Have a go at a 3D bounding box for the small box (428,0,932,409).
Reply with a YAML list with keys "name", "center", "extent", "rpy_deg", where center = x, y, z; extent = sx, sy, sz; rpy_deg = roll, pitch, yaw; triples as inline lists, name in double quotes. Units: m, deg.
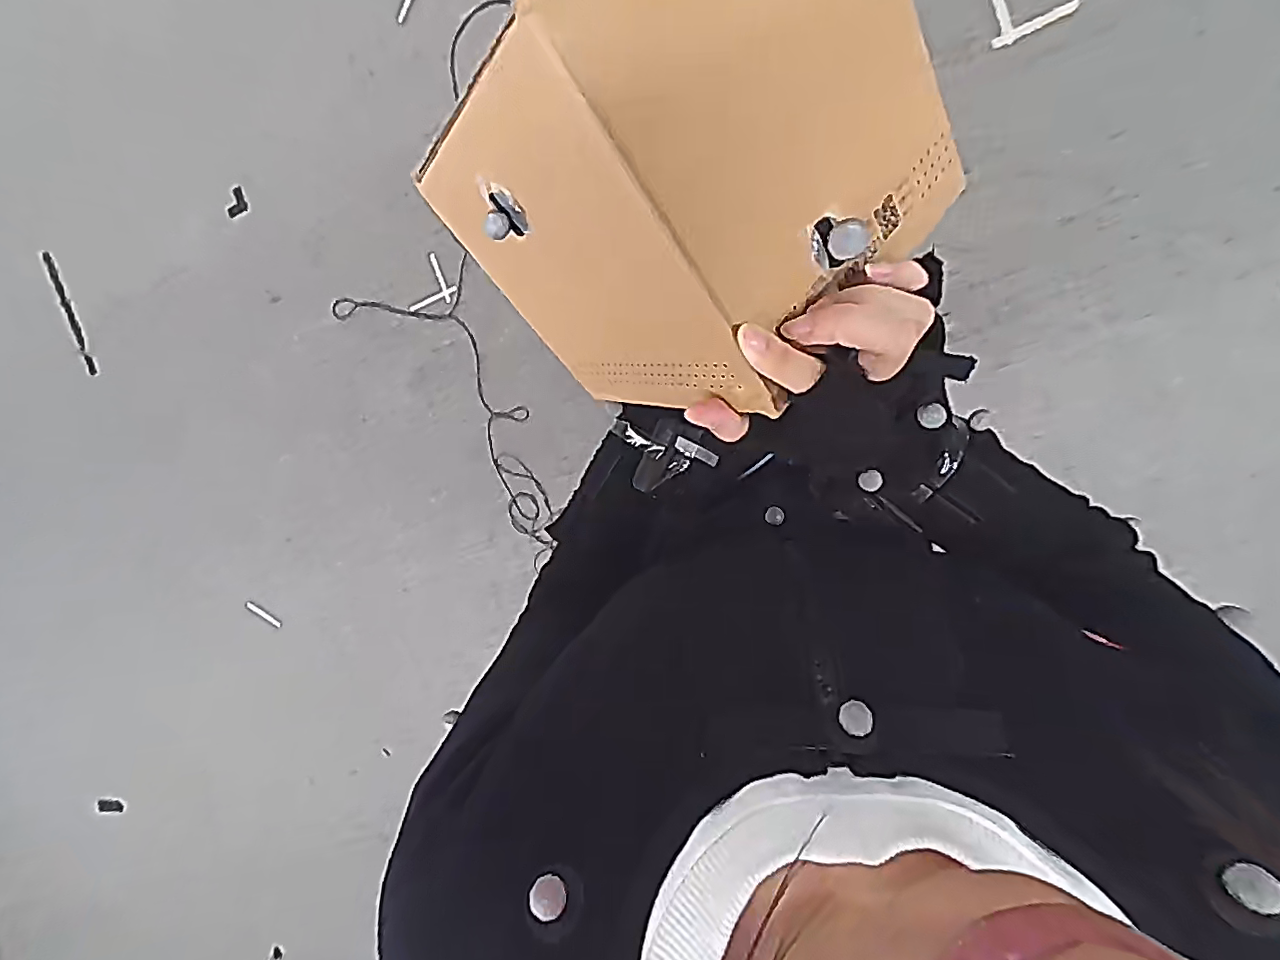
- name: "small box"
  center: [0.019, -0.155, 0.299]
  extent: [0.168, 0.179, 0.176]
  rpy_deg: [-51, 121, -13]
